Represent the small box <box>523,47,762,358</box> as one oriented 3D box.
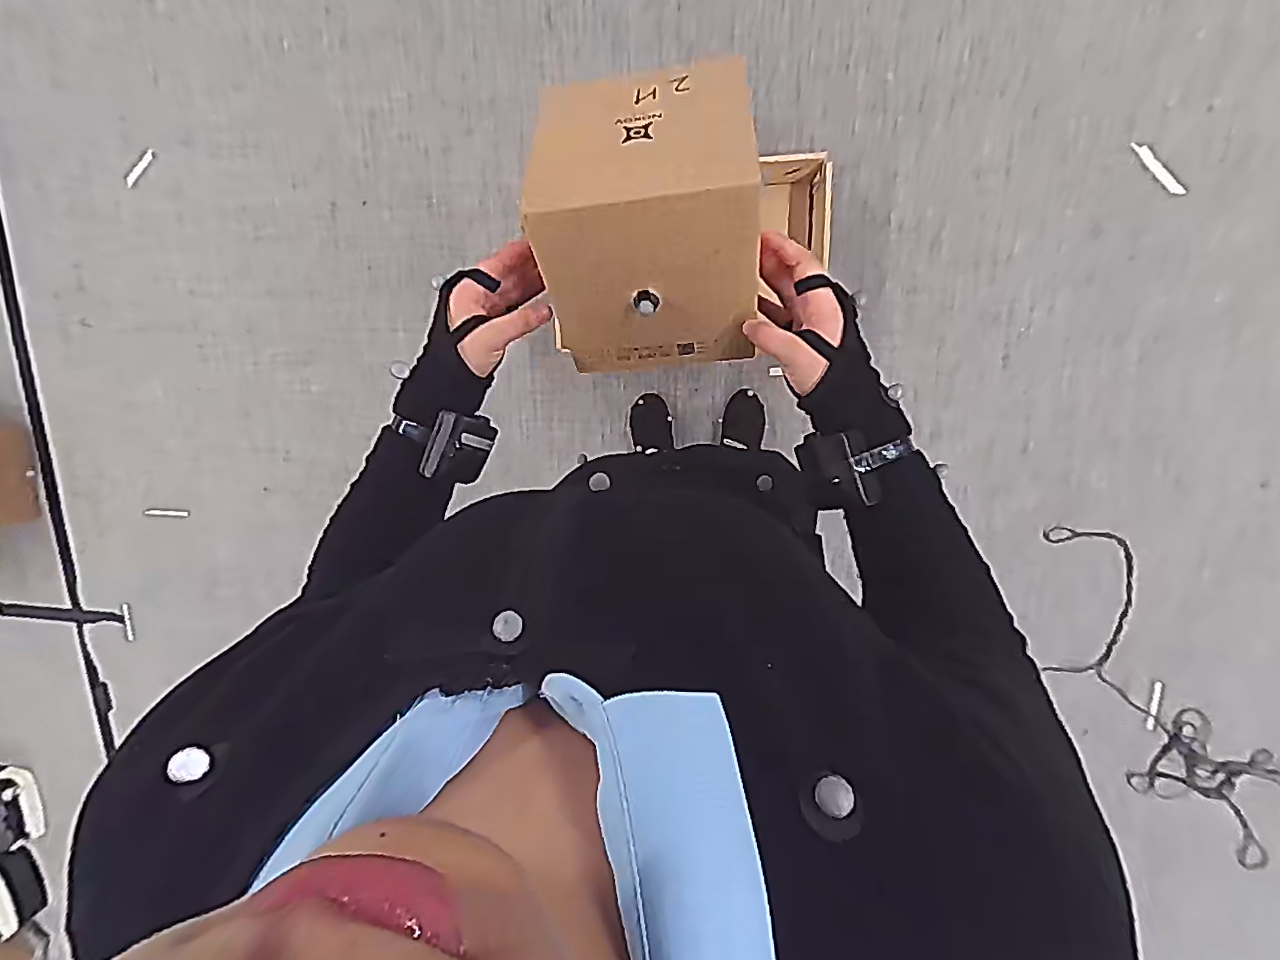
[{"bbox_3d":[0.013,-0.220,0.464,0.168,0.176,0.179,-3,62,7],"label":"small box"}]
